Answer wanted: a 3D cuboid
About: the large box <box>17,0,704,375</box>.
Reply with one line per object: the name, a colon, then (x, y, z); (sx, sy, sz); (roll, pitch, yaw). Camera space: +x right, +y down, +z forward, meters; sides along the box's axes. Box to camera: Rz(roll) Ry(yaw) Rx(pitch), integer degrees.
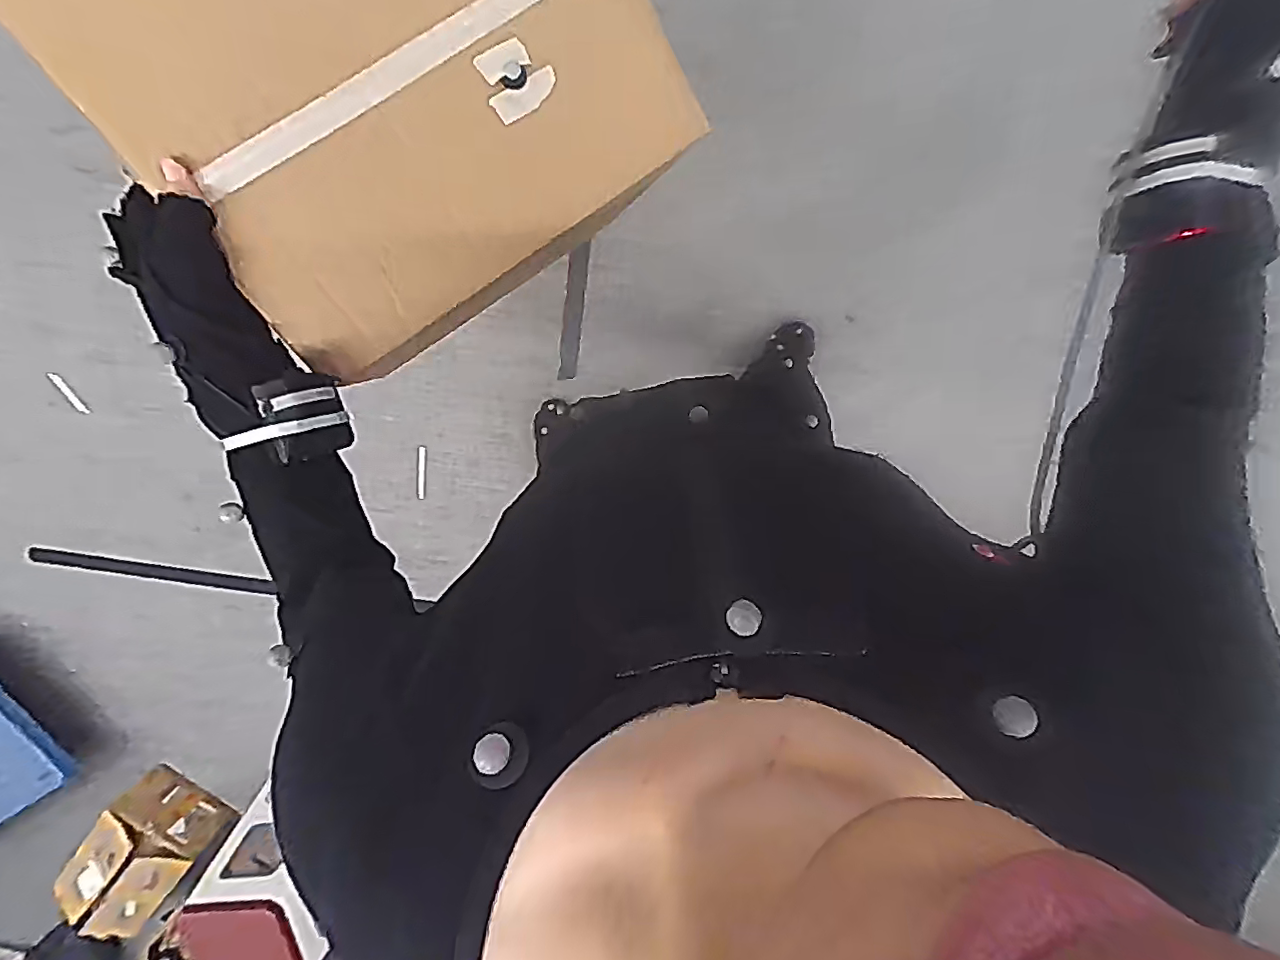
large box: (-0.220, -0.351, 0.562); (0.408, 0.320, 0.320); (-39, 110, -8)
